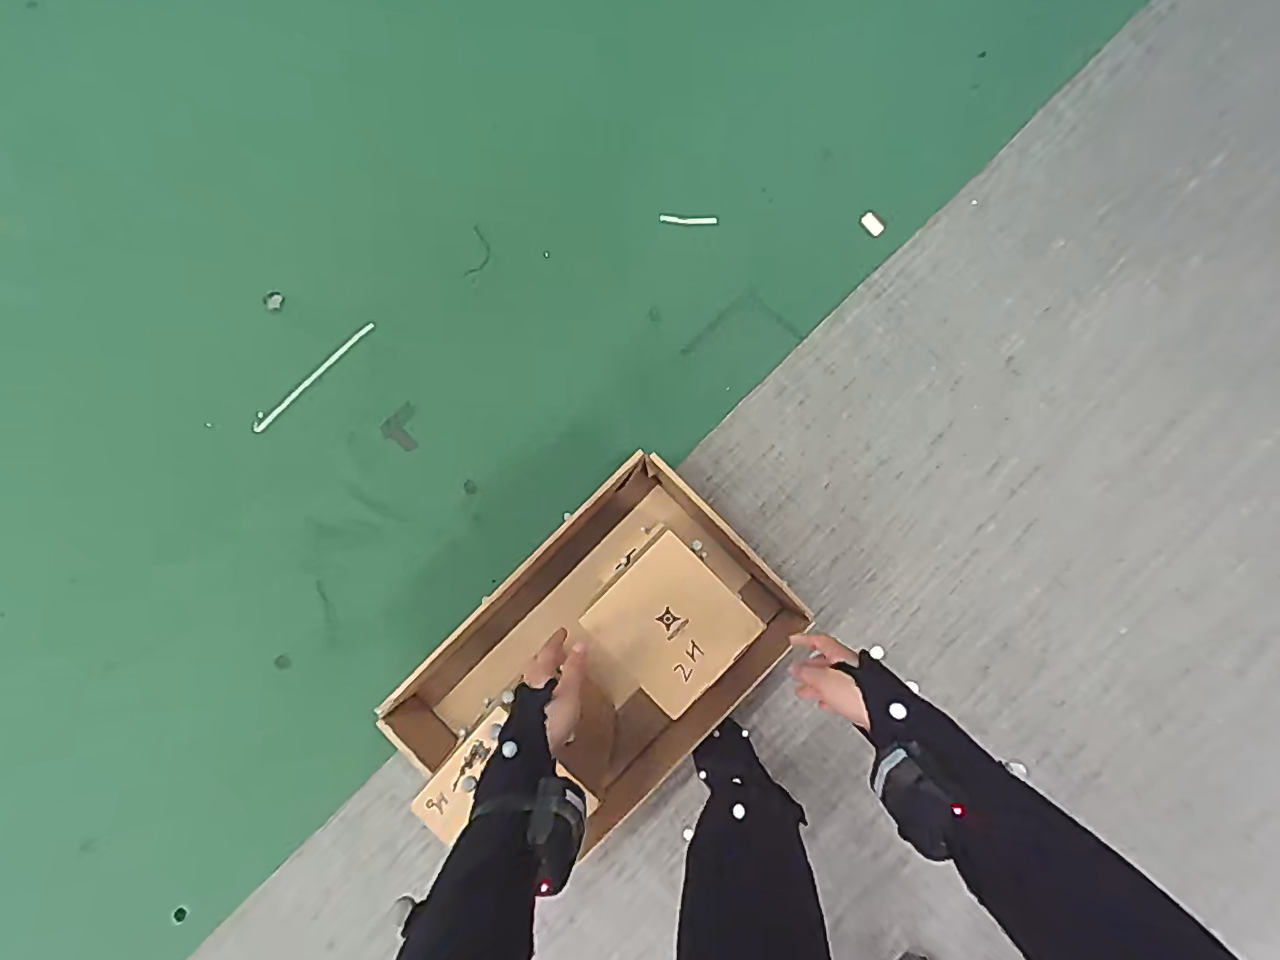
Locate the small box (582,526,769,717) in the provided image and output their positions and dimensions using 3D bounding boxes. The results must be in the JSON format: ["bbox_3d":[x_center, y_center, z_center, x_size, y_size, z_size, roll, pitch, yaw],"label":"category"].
[{"bbox_3d":[0.043,0.180,0.746,0.168,0.176,0.179,-45,88,-2],"label":"small box"}]

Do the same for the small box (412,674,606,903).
[{"bbox_3d":[-0.160,0.397,0.733,0.179,0.176,0.168,42,87,2],"label":"small box"}]
